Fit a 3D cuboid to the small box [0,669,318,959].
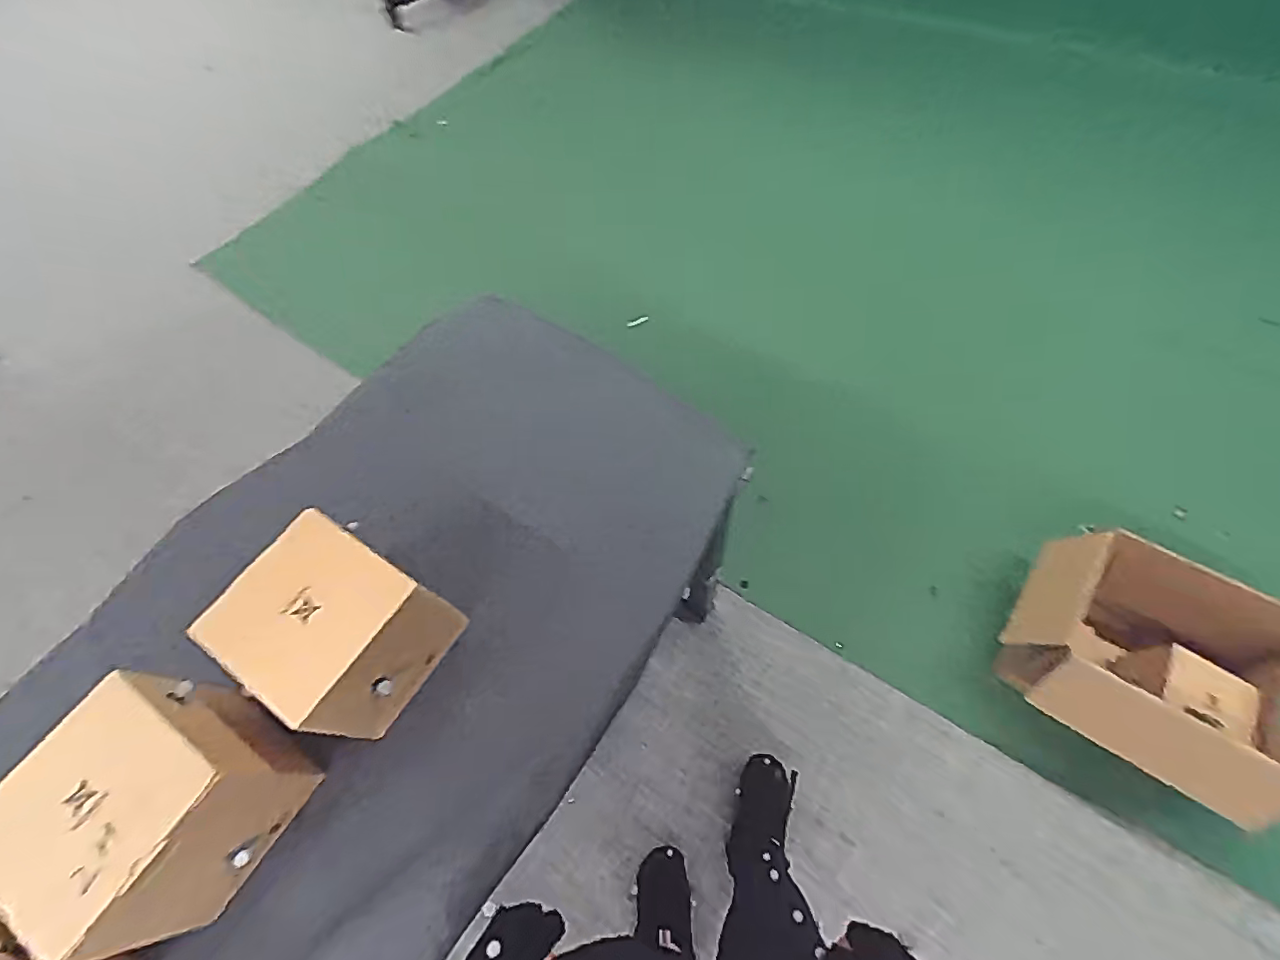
[{"bbox_3d":[-0.484,0.324,0.549,0.179,0.176,0.168,27,67,17],"label":"small box"}]
